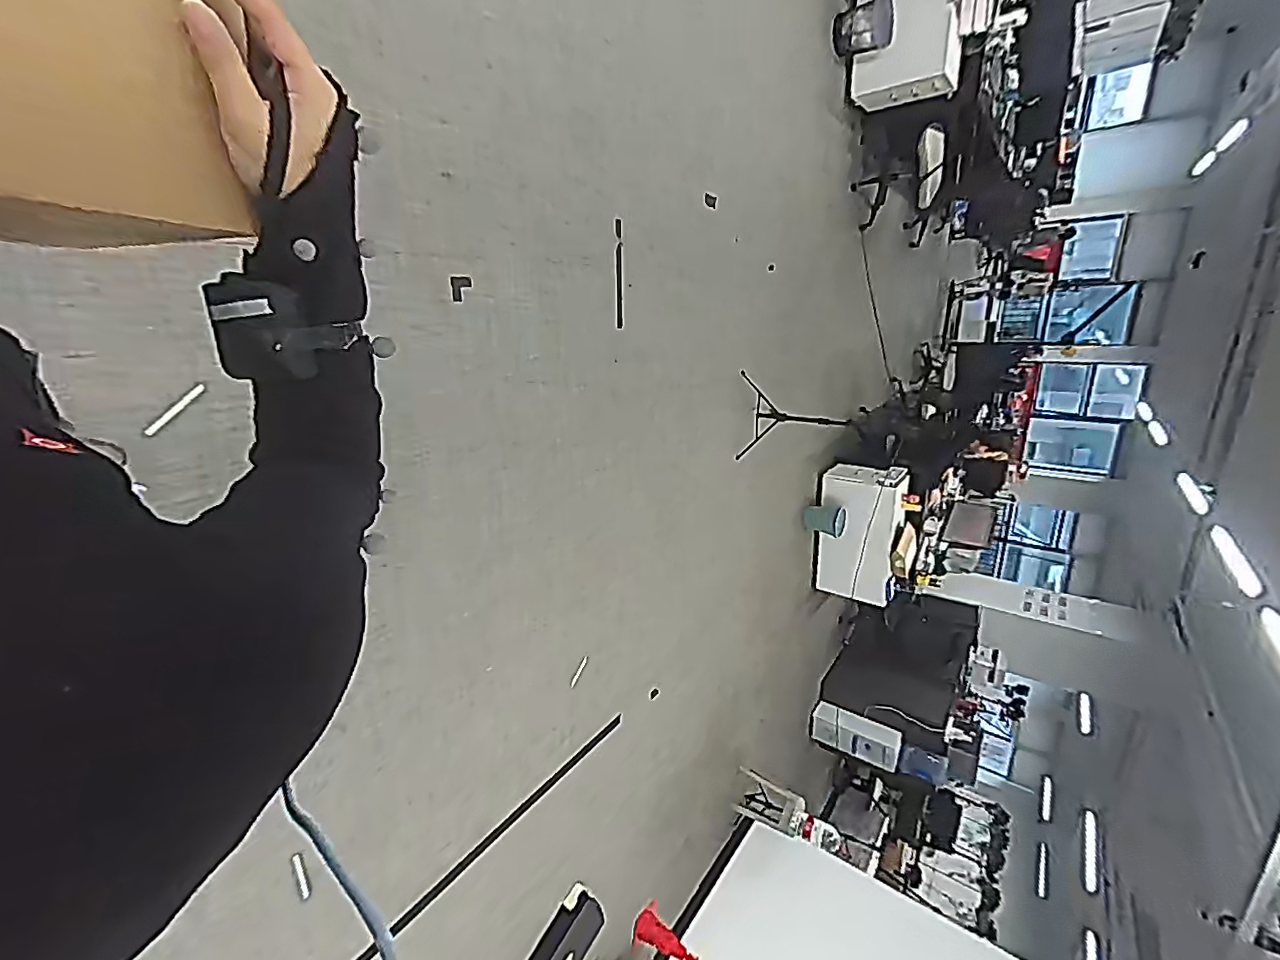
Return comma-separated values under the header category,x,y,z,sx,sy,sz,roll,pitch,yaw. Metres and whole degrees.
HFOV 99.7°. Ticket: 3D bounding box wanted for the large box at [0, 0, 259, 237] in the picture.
category,x,y,z,sx,sy,sz,roll,pitch,yaw
large box,-0.461,-0.290,0.205,0.408,0.320,0.320,-22,121,-56
